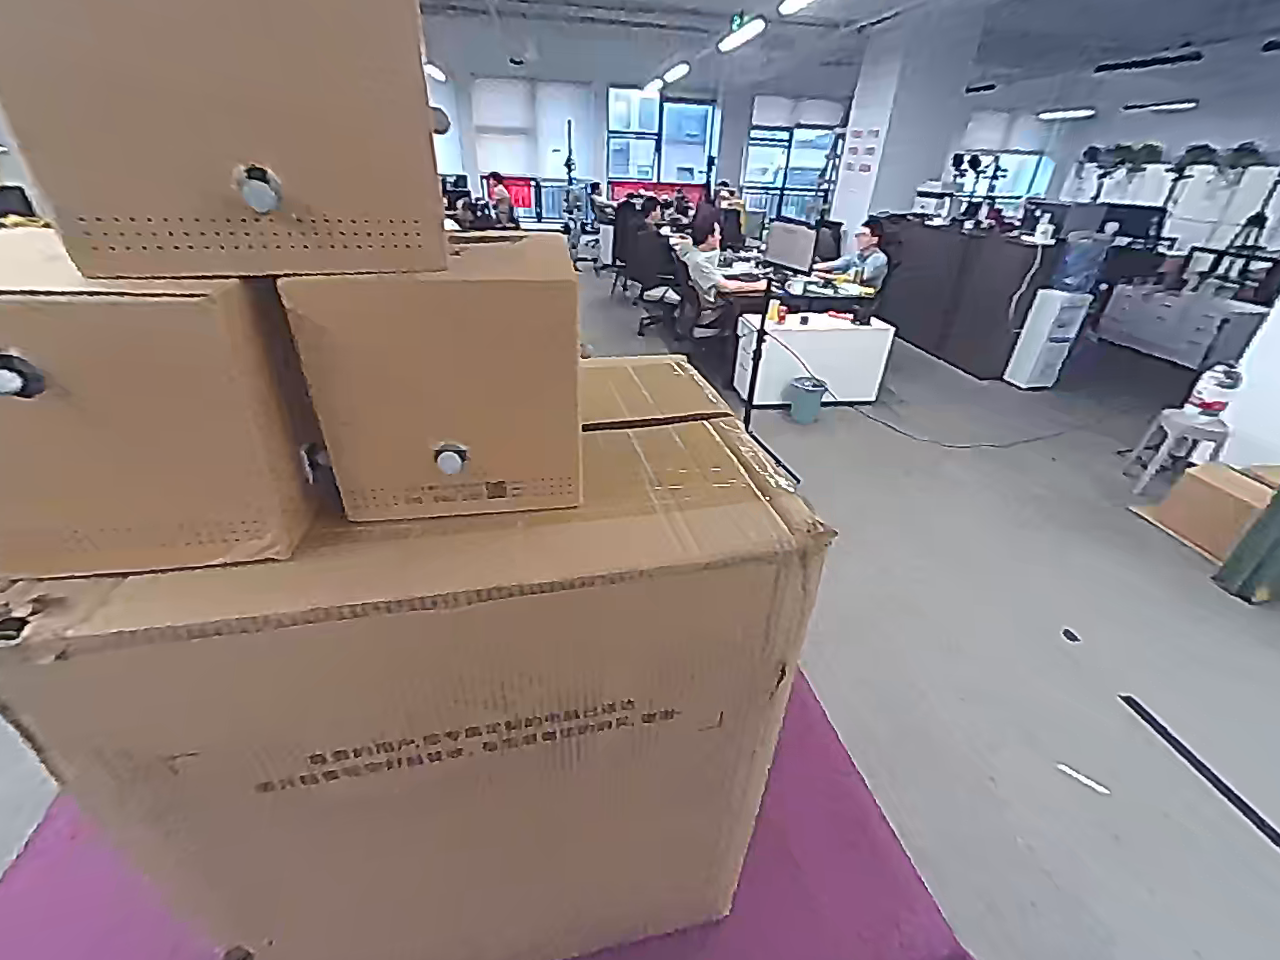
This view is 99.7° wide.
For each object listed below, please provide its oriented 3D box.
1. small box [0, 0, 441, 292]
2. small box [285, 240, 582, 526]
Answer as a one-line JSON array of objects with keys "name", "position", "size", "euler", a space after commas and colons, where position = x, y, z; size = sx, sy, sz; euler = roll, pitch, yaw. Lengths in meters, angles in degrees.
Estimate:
[{"name": "small box", "position": [-0.217, -0.214, 0.314], "size": [0.179, 0.176, 0.168], "euler": [-9, 34, -20]}, {"name": "small box", "position": [-0.133, -0.084, 0.421], "size": [0.168, 0.176, 0.179], "euler": [-4, 33, -9]}]
